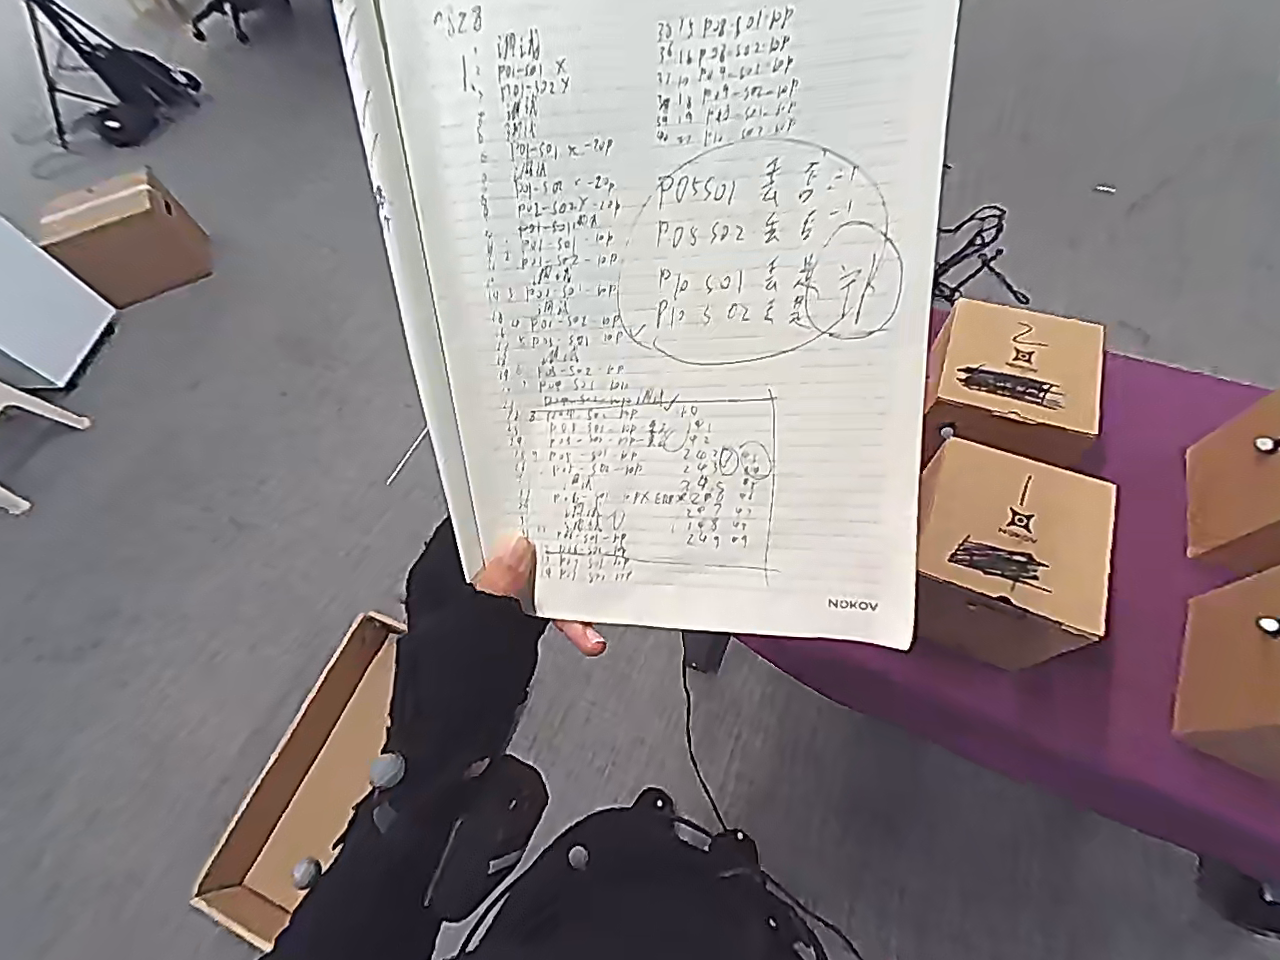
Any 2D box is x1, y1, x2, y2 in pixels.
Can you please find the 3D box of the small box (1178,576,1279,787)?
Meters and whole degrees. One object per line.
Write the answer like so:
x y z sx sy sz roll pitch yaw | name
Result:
0.675 0.201 0.517 0.168 0.176 0.179 25 66 19 | small box

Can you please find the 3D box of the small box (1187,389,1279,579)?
0.777 0.019 0.611 0.168 0.176 0.179 19 64 16 | small box

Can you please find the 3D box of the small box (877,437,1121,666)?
0.388 0.087 0.612 0.168 0.176 0.179 22 65 18 | small box
